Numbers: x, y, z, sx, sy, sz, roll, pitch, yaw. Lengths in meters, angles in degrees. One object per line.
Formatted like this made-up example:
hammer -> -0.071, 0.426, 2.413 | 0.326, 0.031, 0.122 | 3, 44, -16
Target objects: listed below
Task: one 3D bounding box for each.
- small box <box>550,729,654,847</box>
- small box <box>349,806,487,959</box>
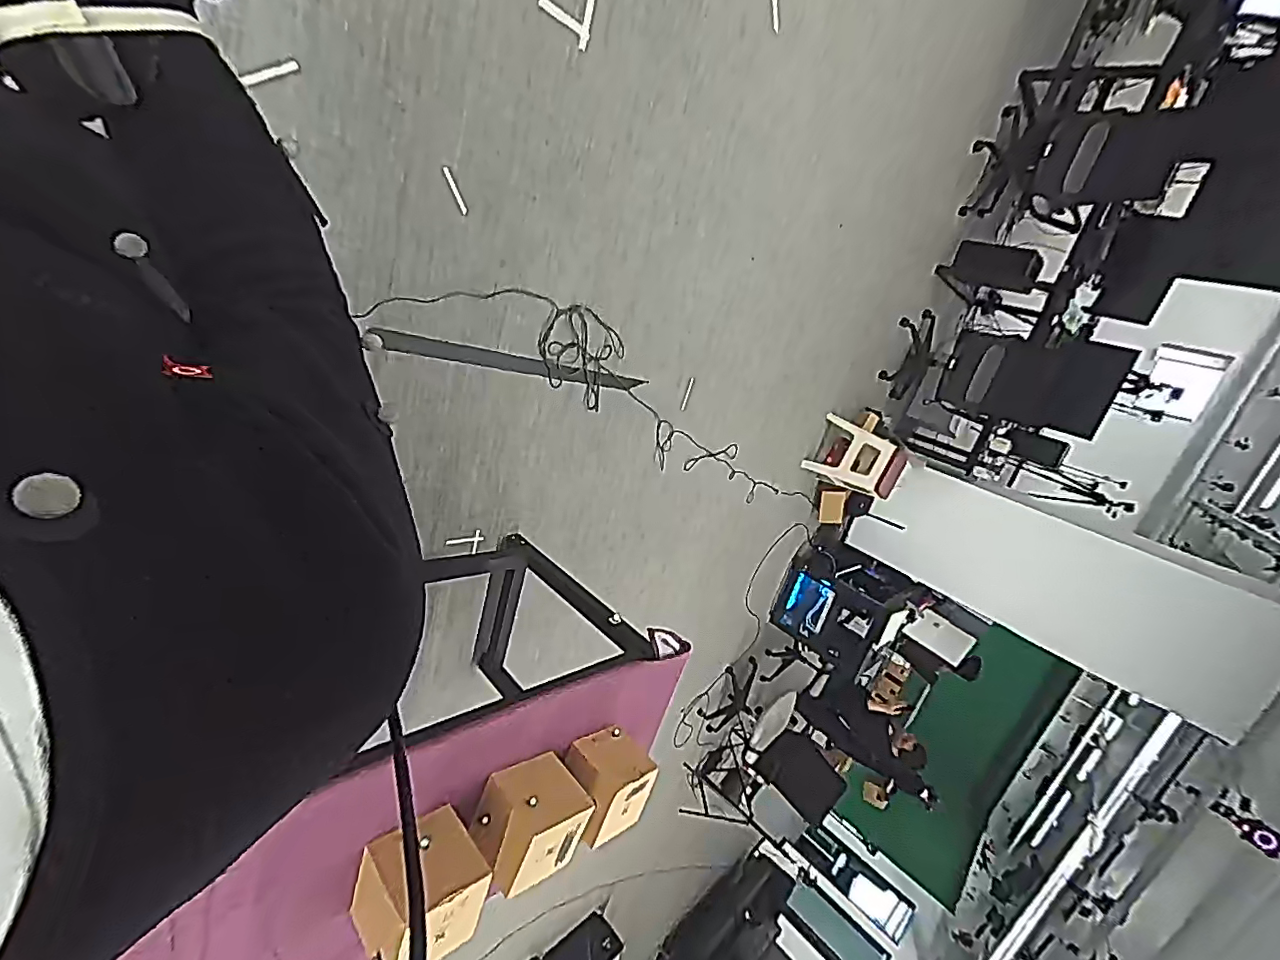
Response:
small box -> -0.099, 0.754, 1.352 | 0.168, 0.176, 0.179 | 7, 108, -51
small box -> -0.411, 0.753, 0.990 | 0.168, 0.176, 0.179 | -1, 114, -49
